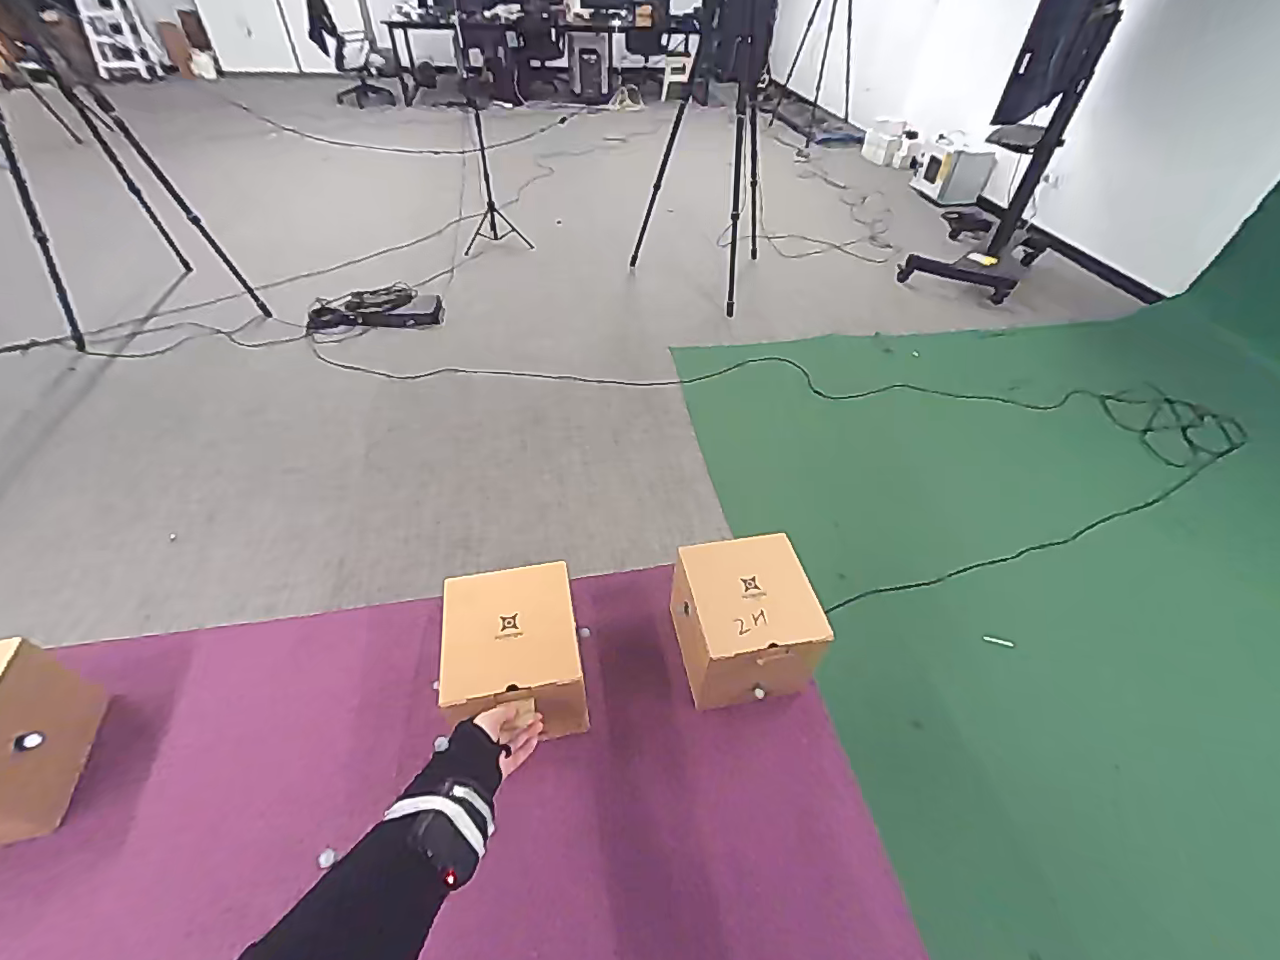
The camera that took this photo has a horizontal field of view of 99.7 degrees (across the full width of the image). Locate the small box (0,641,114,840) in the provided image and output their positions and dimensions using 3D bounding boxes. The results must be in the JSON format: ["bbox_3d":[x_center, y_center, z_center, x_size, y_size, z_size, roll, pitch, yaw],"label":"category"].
[{"bbox_3d":[-0.791,0.322,0.639,0.168,0.176,0.179,-9,48,-12],"label":"small box"}]

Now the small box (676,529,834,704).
[{"bbox_3d":[0.151,0.198,0.787,0.168,0.176,0.179,-7,47,-7],"label":"small box"}]

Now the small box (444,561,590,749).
[{"bbox_3d":[-0.163,0.238,0.742,0.168,0.176,0.179,-8,47,-9],"label":"small box"}]
